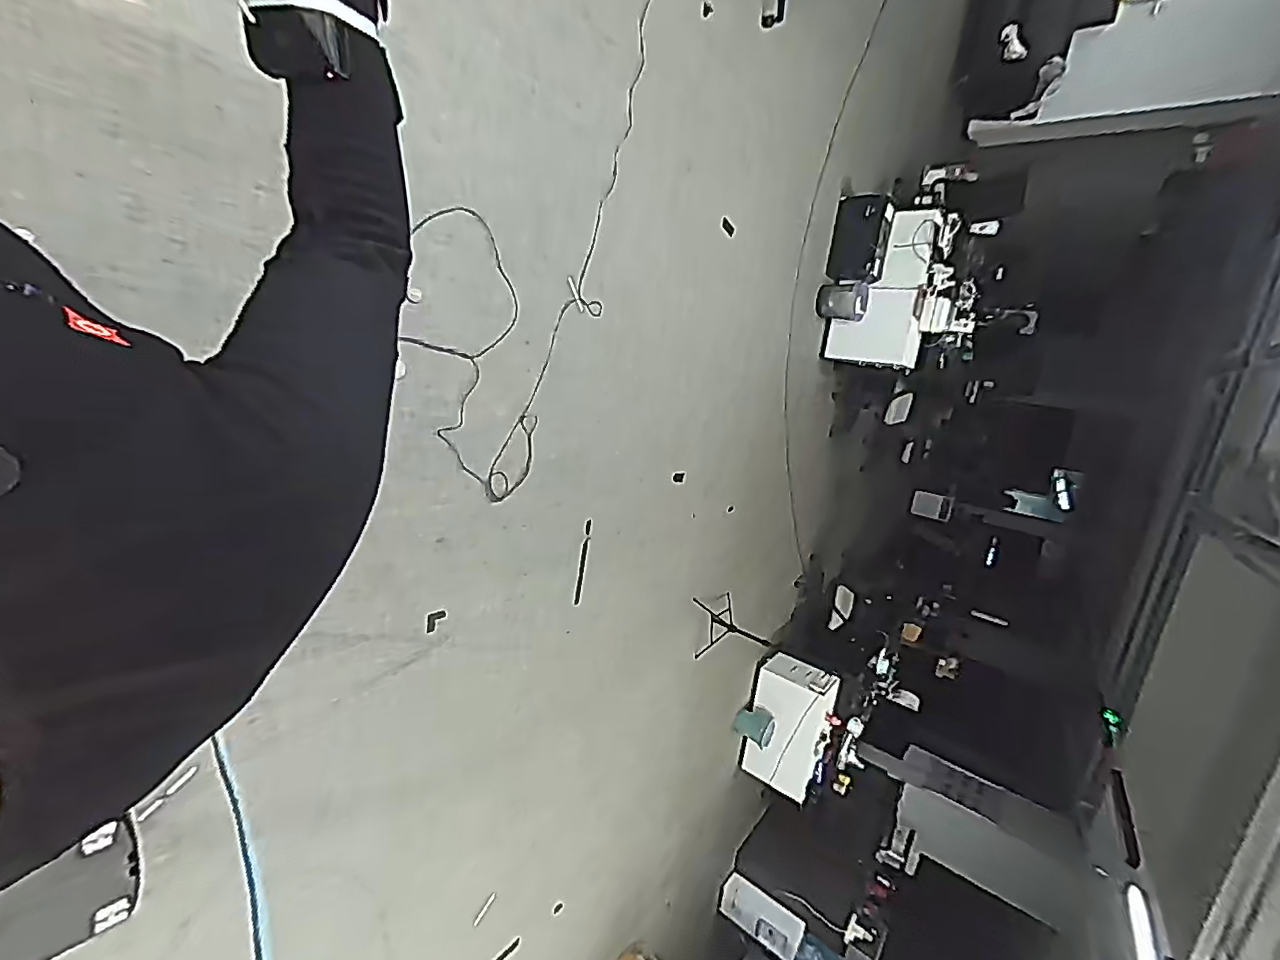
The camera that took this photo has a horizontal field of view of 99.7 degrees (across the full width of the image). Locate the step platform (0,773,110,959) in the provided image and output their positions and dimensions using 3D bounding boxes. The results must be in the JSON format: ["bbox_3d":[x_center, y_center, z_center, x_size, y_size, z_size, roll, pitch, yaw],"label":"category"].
[{"bbox_3d":[-1.367,0.818,0.909,0.684,0.204,0.286,-10,111,-51],"label":"step platform"}]
